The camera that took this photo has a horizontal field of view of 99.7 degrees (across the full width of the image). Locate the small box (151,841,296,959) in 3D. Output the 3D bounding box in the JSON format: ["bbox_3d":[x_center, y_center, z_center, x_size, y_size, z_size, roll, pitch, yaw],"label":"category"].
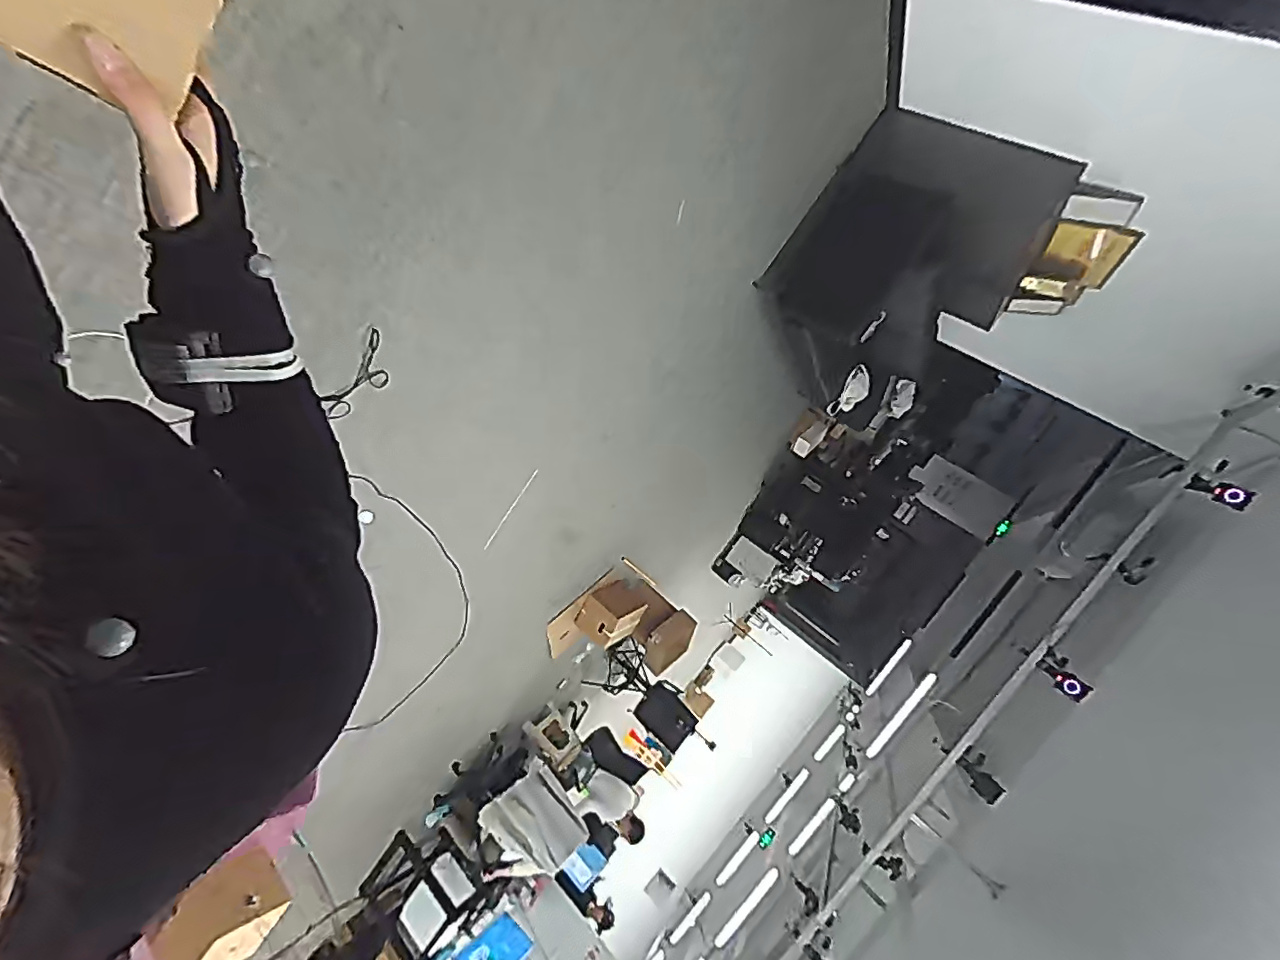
[{"bbox_3d":[-0.939,0.969,1.222,0.168,0.176,0.179,-53,156,2],"label":"small box"}]
